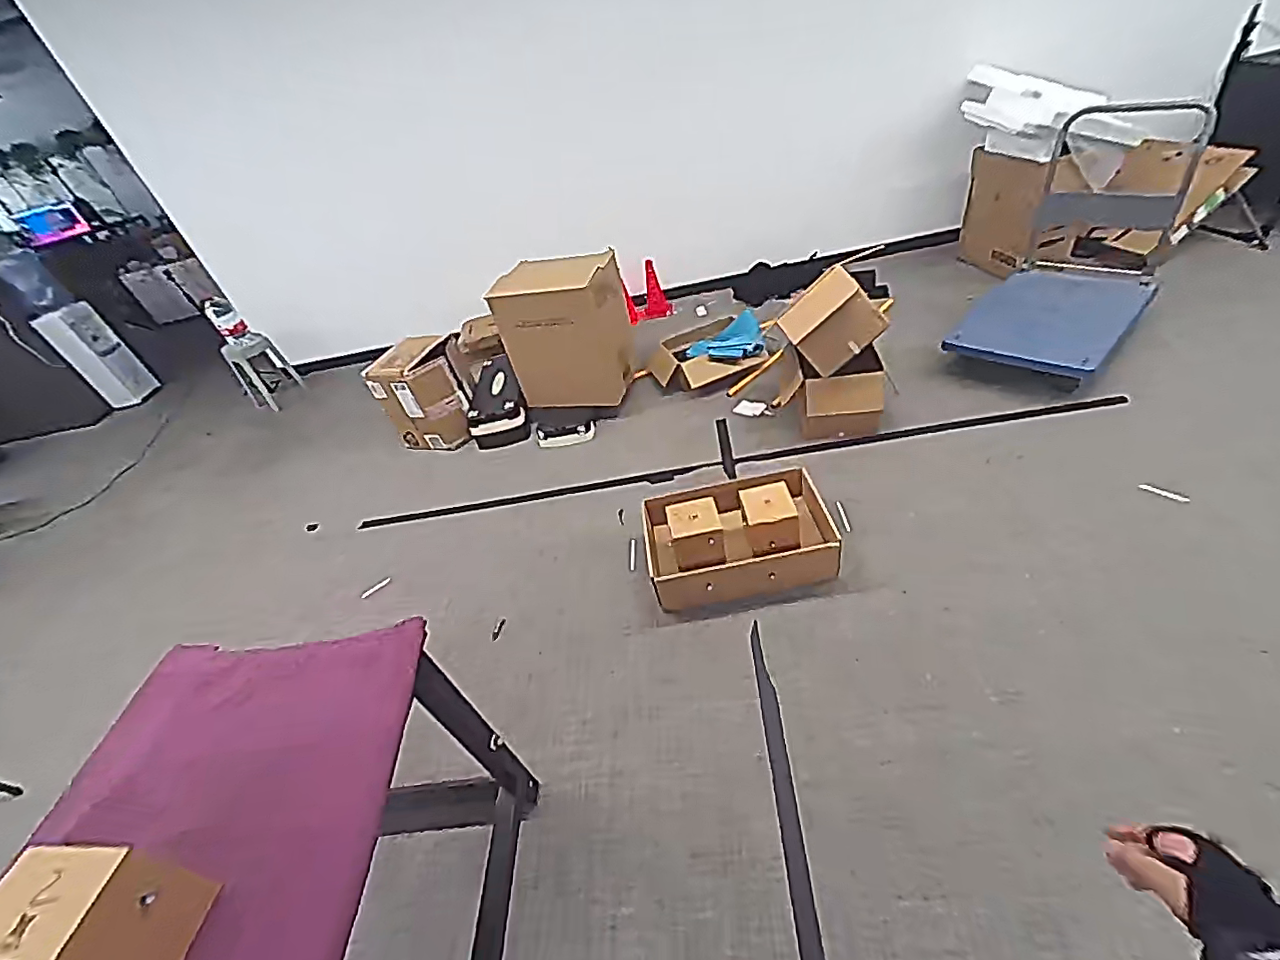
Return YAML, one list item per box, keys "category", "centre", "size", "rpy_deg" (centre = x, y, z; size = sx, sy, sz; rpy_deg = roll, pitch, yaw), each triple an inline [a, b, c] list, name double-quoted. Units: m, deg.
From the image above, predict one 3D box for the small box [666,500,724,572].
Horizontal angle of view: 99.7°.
- category: "small box"
  centre: [0.197, 0.199, 1.907]
  size: [0.179, 0.176, 0.168]
  rpy_deg: [-12, 38, 2]

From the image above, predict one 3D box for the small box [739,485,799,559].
- category: "small box"
  centre: [0.451, 0.147, 1.891]
  size: [0.168, 0.176, 0.179]
  rpy_deg: [-13, 39, 4]
